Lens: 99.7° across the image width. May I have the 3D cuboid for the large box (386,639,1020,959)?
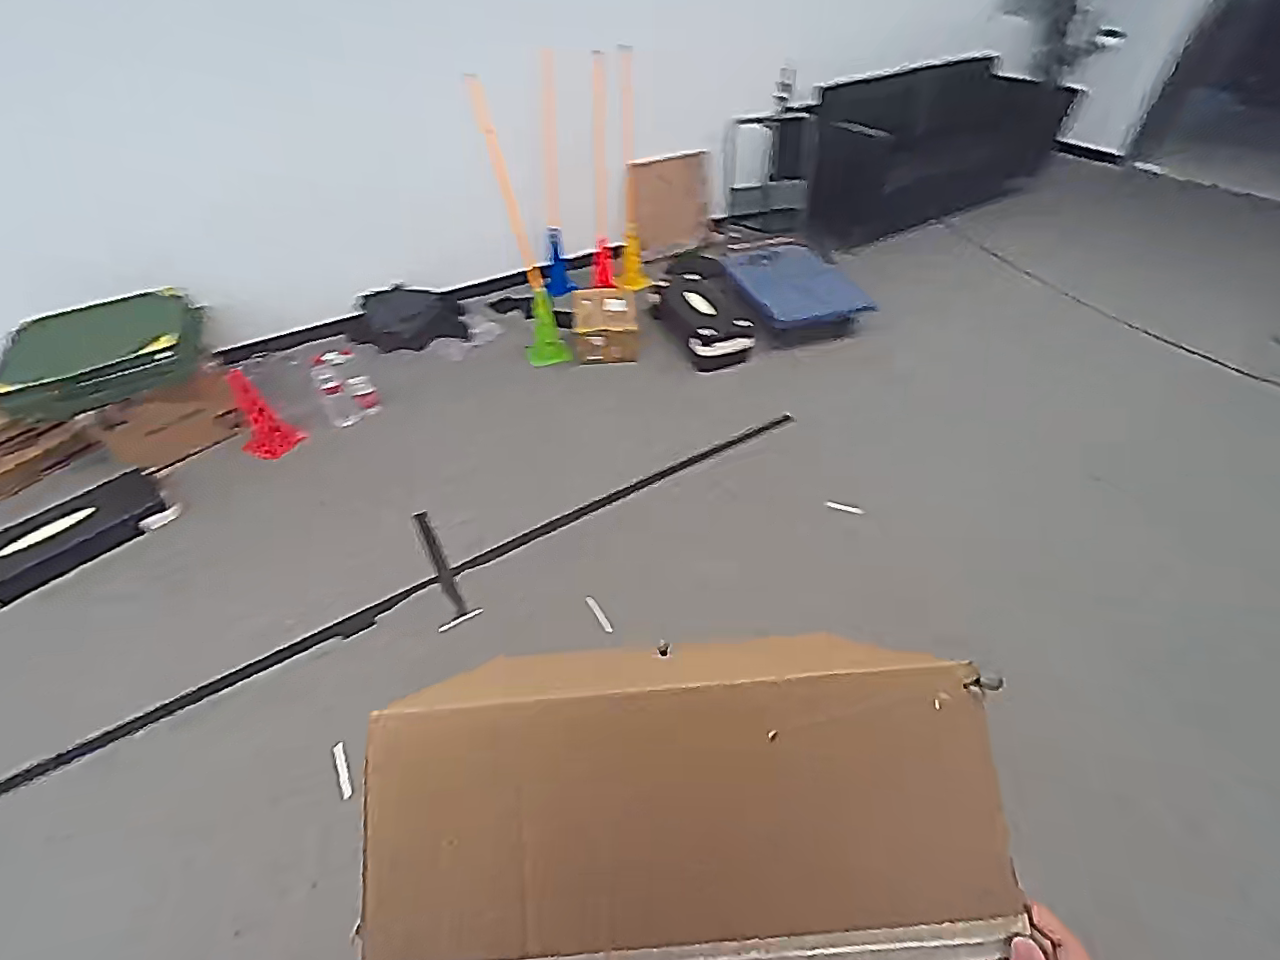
[{"bbox_3d":[0.038,0.327,0.485,0.408,0.320,0.320,-5,79,0],"label":"large box"}]
